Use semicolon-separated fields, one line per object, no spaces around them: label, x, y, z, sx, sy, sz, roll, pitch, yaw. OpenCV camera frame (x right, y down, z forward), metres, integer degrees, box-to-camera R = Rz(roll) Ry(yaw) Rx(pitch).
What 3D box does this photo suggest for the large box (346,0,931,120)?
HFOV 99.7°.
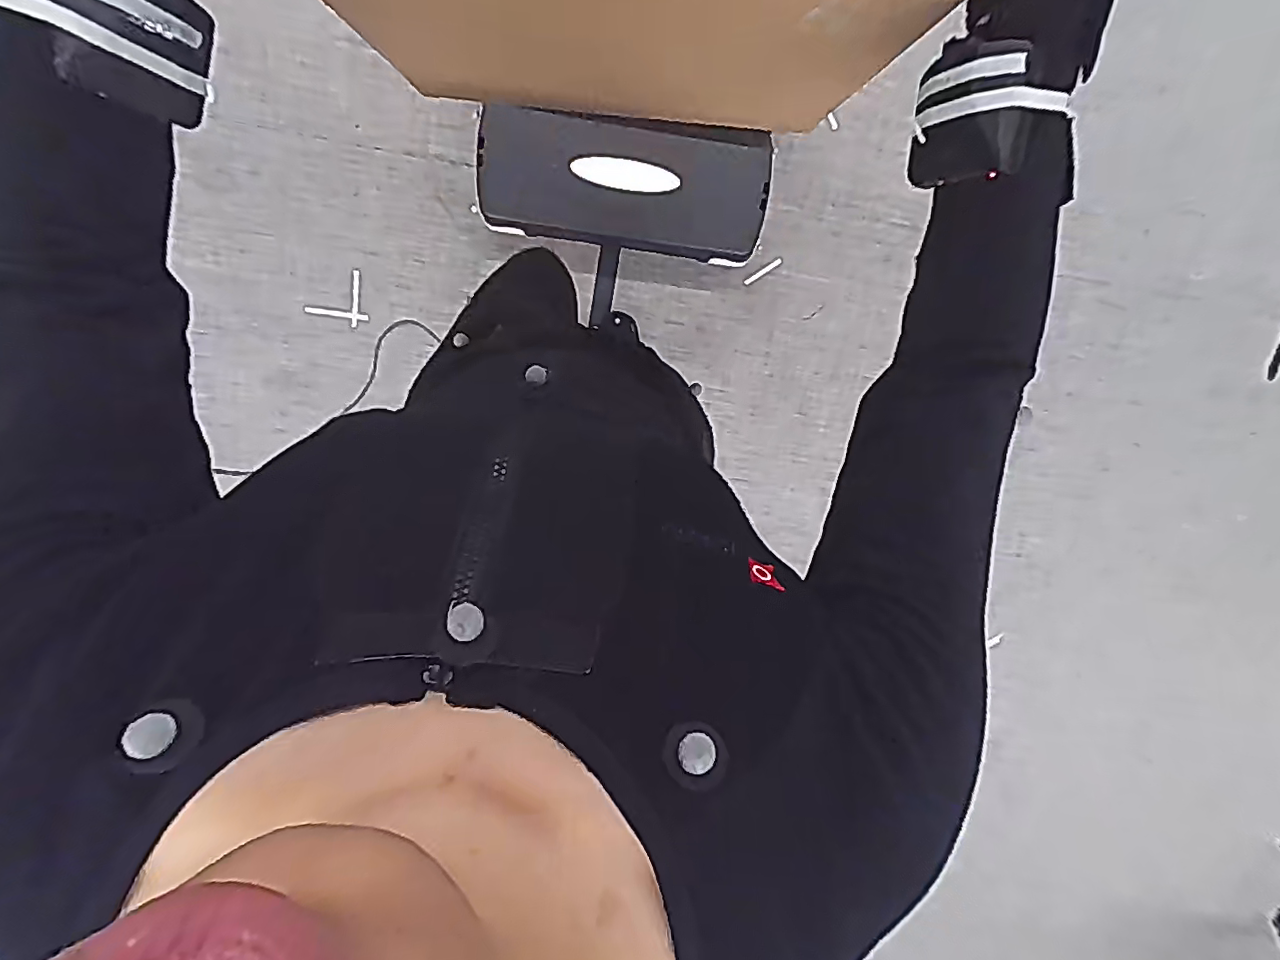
large box;-0.006;-0.481;0.373;0.408;0.320;0.320;3;110;-3
